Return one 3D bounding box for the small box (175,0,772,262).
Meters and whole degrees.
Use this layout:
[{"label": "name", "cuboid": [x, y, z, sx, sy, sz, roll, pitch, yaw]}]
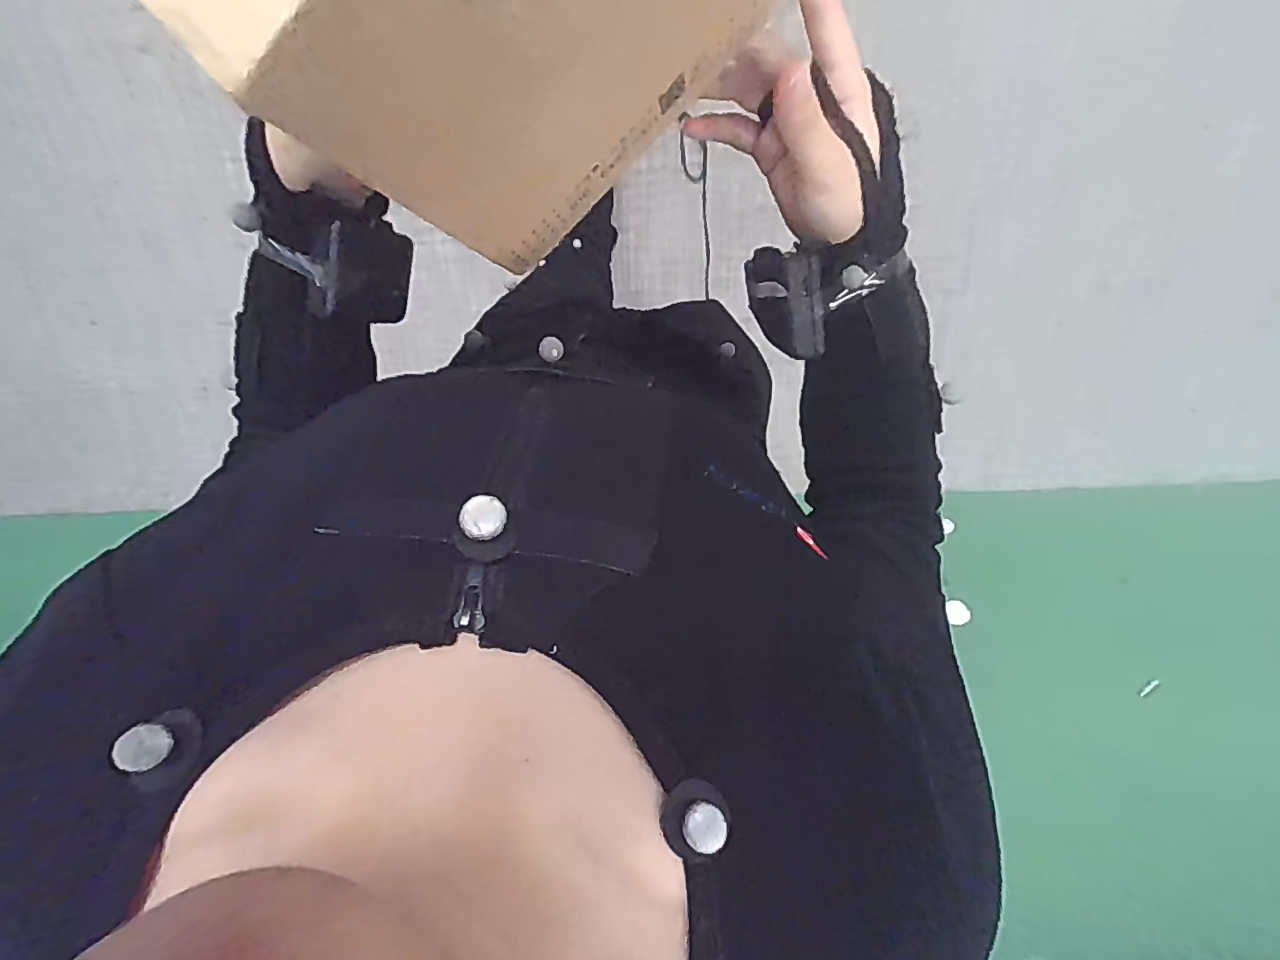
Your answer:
[{"label": "small box", "cuboid": [-0.065, -0.206, 0.181, 0.168, 0.176, 0.179, -43, 91, 12]}]
